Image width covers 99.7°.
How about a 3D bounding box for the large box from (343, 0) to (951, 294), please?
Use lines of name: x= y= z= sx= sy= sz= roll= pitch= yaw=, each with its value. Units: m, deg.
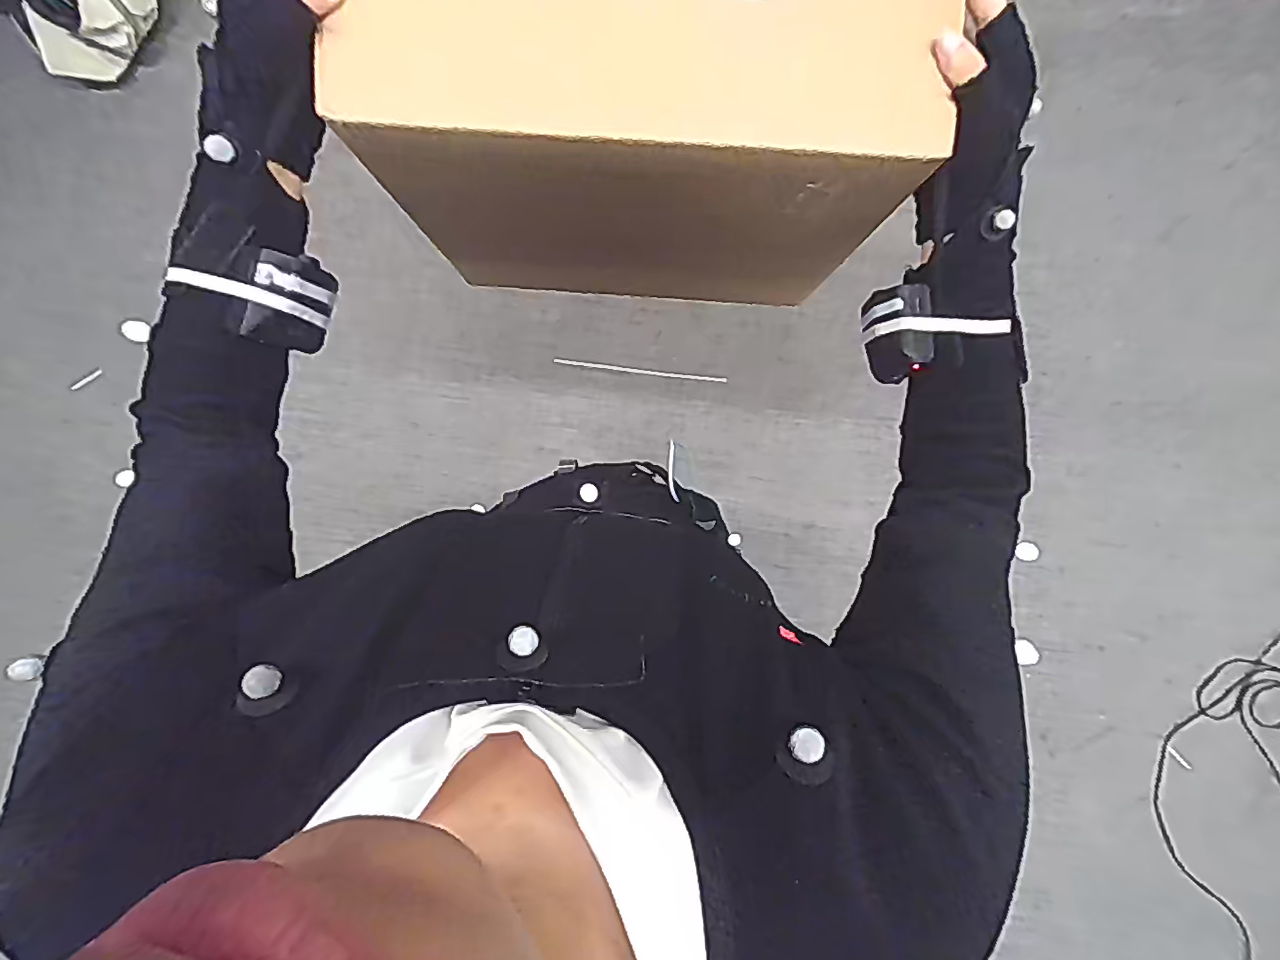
large box: x=0.005 y=-0.380 z=0.501 sx=0.408 sy=0.320 sz=0.320 roll=3 pitch=91 yaw=-2
